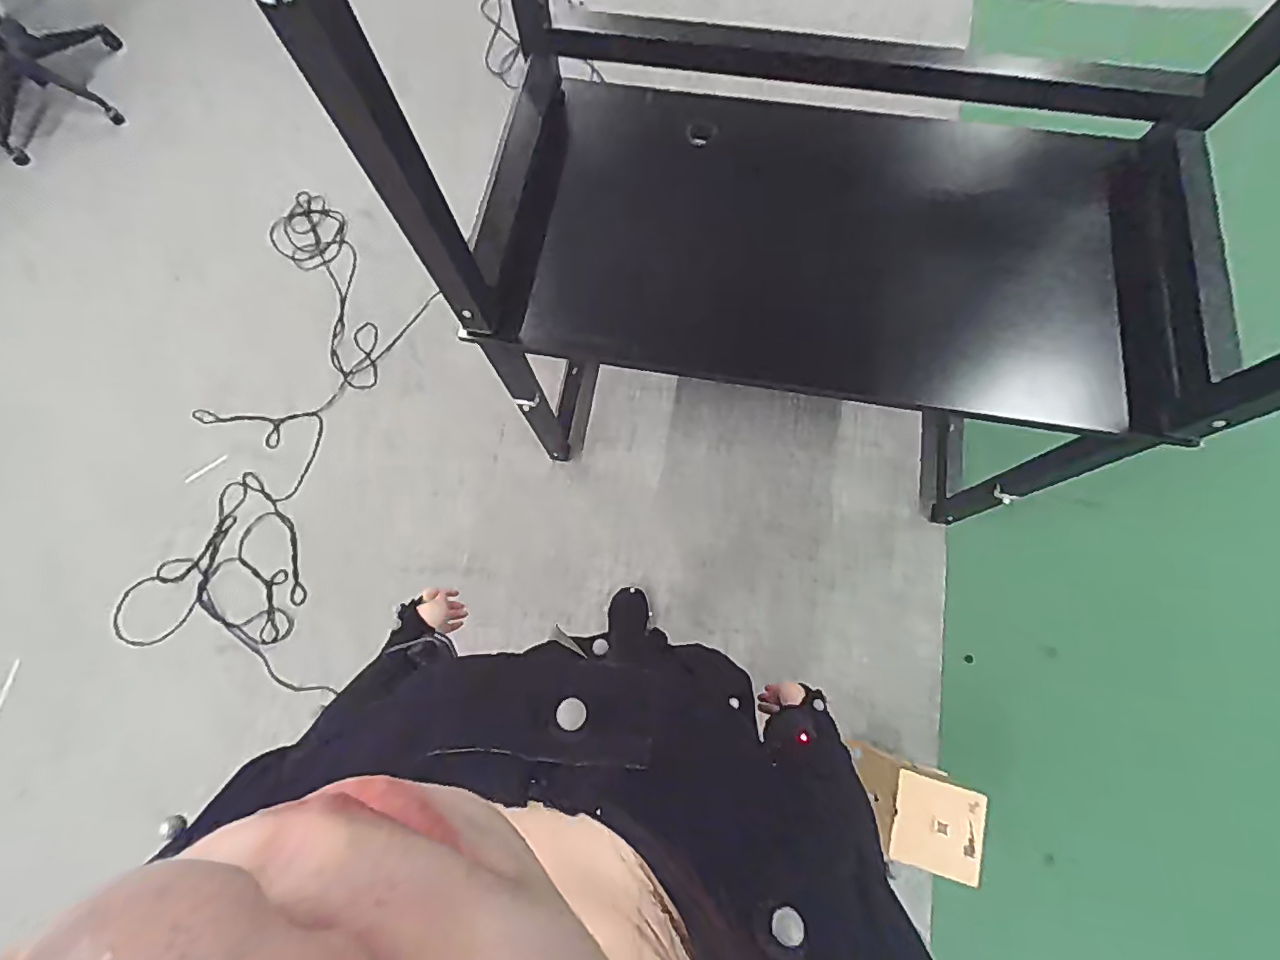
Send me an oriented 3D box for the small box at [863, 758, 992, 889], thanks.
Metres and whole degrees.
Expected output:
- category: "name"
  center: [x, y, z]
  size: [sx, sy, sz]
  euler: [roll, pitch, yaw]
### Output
- category: "small box"
  center: [0.588, 0.698, 1.124]
  size: [0.179, 0.176, 0.168]
  euler: [16, 75, 7]
